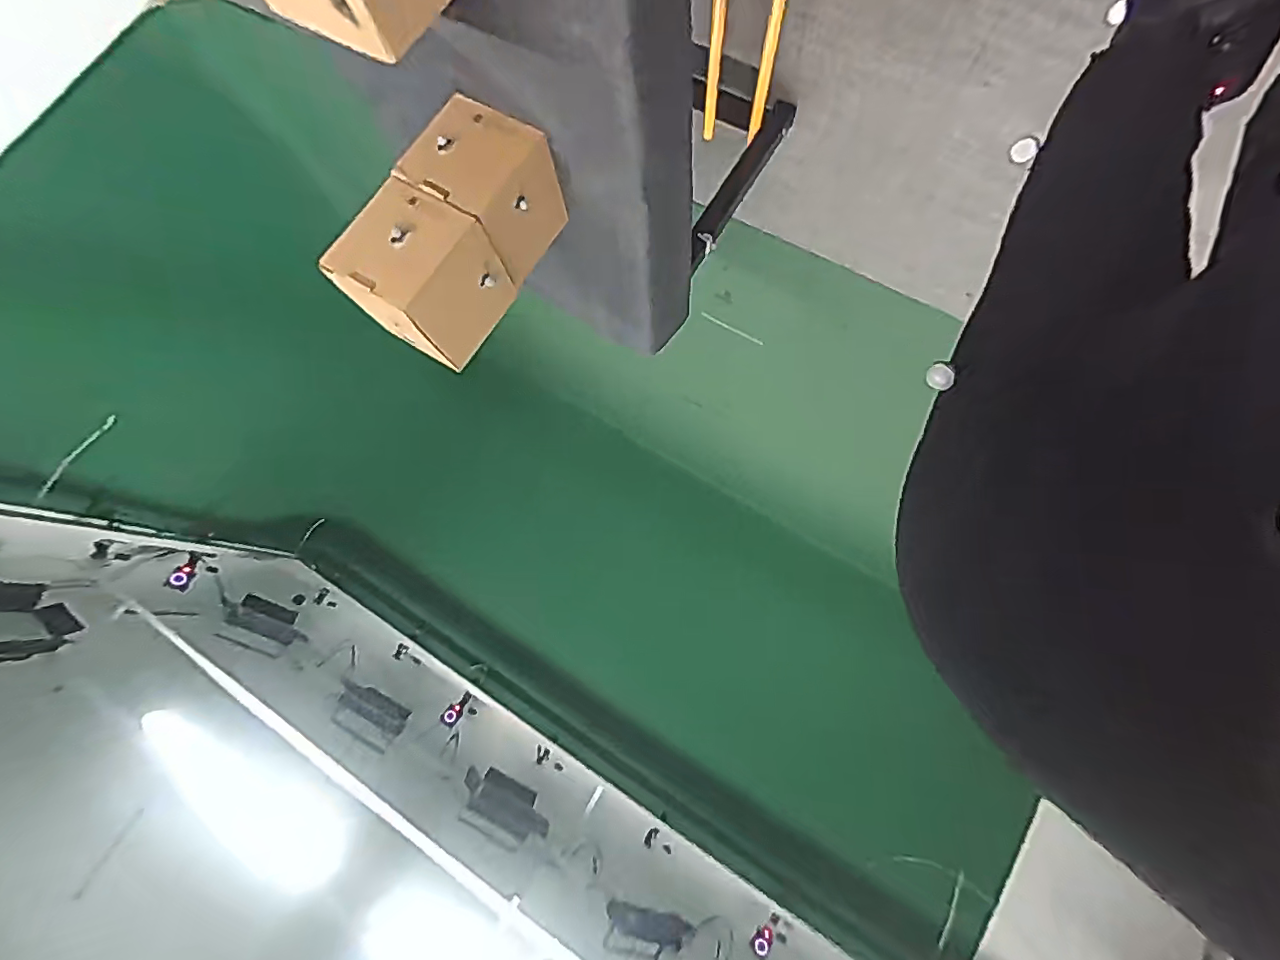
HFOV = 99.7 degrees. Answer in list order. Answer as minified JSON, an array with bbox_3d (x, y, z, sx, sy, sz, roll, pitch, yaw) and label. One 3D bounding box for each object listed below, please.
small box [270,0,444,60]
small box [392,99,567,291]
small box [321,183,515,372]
[{"bbox_3d":[-0.275,-0.544,0.488,0.179,0.176,0.168,31,169,11],"label":"small box"},{"bbox_3d":[-0.237,-0.442,0.846,0.168,0.176,0.179,31,170,11],"label":"small box"},{"bbox_3d":[-0.320,-0.303,0.815,0.168,0.176,0.179,31,169,14],"label":"small box"}]
